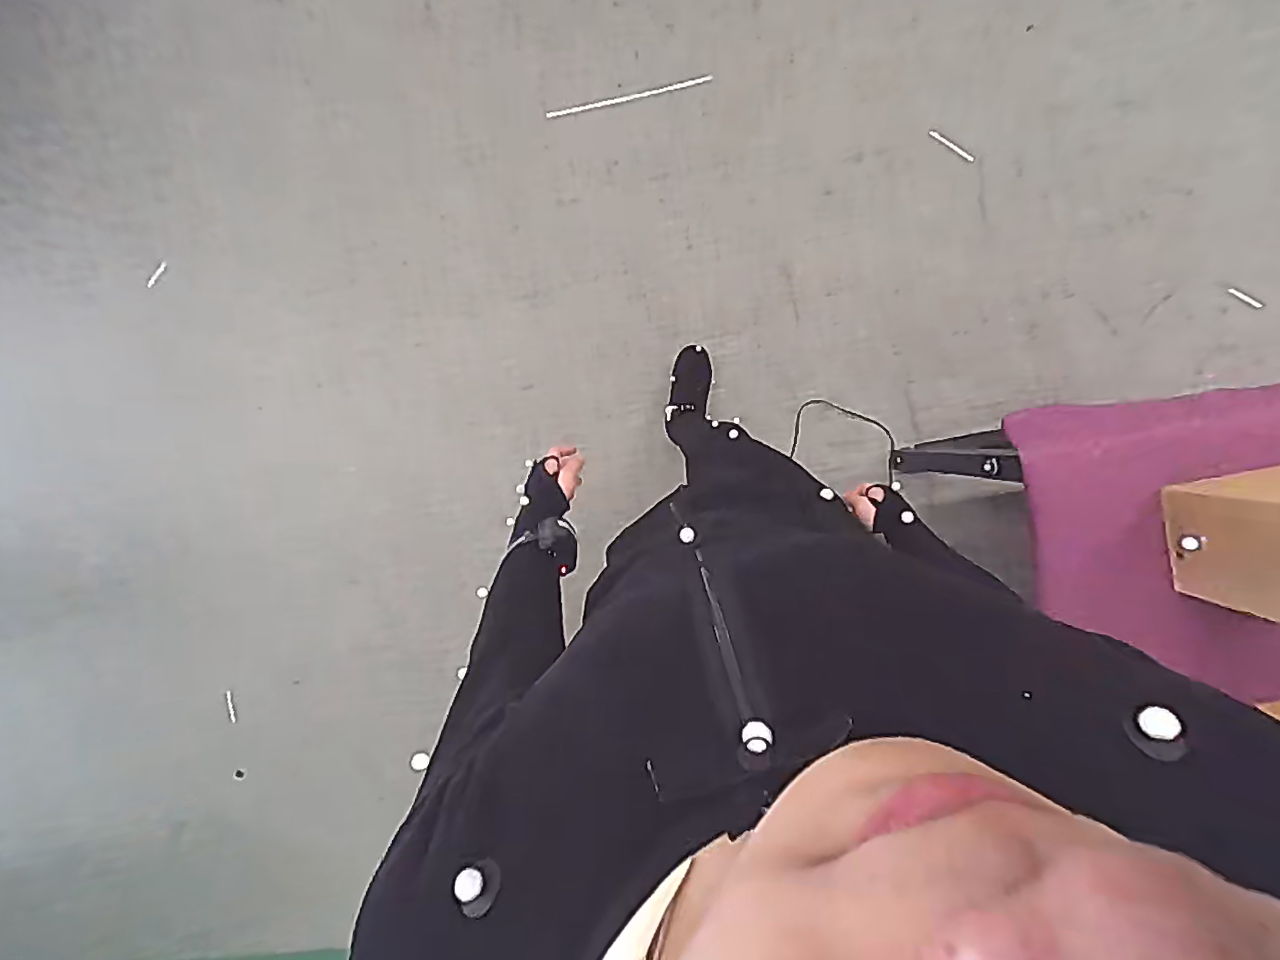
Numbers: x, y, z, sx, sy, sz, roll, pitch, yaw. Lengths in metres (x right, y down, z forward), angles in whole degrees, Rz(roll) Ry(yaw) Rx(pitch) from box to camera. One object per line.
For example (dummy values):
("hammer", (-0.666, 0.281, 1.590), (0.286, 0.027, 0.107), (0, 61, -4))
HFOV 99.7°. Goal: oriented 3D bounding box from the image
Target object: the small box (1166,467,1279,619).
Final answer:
("small box", (0.892, 0.079, 0.739), (0.179, 0.176, 0.168), (-12, 92, 5))
